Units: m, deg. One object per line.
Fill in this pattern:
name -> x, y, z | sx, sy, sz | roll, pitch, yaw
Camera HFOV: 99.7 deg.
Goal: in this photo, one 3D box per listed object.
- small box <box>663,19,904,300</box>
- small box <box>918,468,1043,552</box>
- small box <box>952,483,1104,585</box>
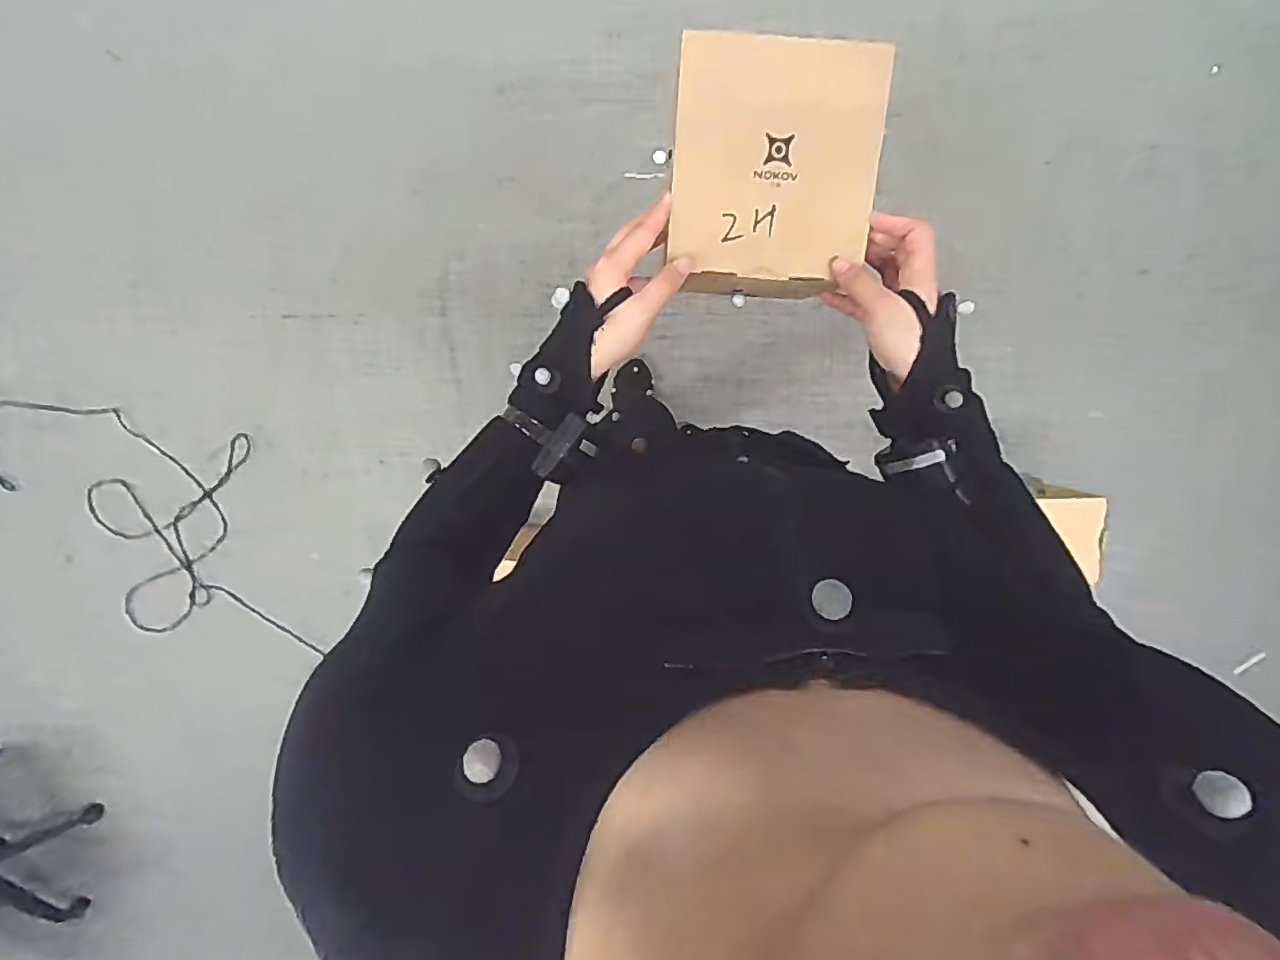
small box -> 0.112, -0.274, 0.505 | 0.168, 0.176, 0.179 | 5, 104, -1
small box -> 0.767, 0.065, 1.232 | 0.179, 0.176, 0.168 | -2, 99, 3
small box -> 0.757, 0.100, 1.072 | 0.179, 0.176, 0.168 | -2, 99, 1
